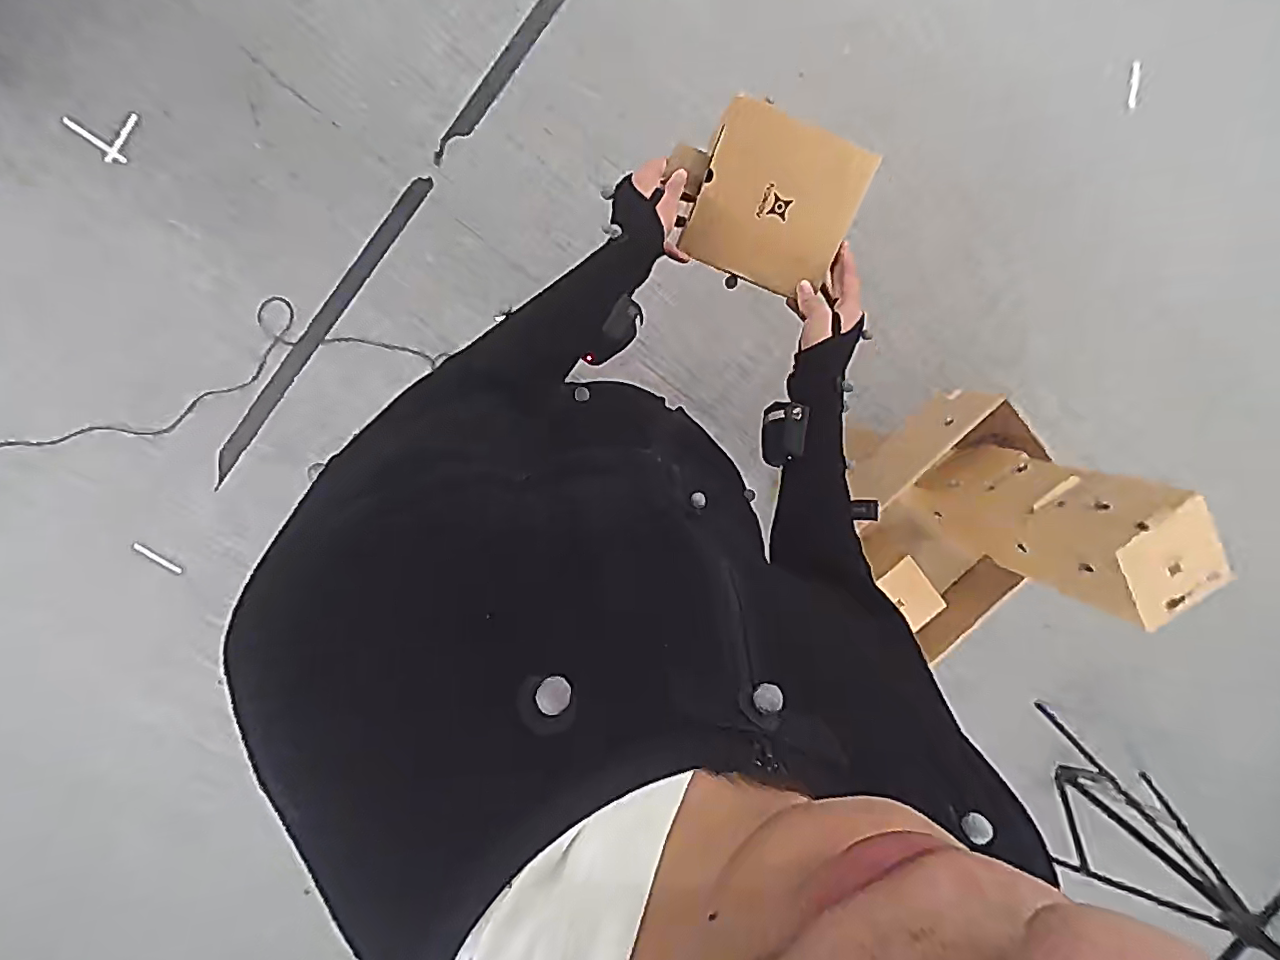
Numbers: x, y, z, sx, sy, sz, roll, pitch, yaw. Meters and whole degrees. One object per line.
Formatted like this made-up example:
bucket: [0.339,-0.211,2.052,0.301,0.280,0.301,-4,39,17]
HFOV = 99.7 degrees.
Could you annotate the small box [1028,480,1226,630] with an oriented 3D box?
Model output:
small box: [0.816,0.115,0.923,0.168,0.176,0.179,-32,103,1]

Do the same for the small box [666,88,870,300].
small box: [0.141,-0.342,0.671,0.179,0.176,0.168,20,112,-6]

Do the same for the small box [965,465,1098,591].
small box: [0.800,0.084,1.085,0.168,0.176,0.179,-36,104,1]
